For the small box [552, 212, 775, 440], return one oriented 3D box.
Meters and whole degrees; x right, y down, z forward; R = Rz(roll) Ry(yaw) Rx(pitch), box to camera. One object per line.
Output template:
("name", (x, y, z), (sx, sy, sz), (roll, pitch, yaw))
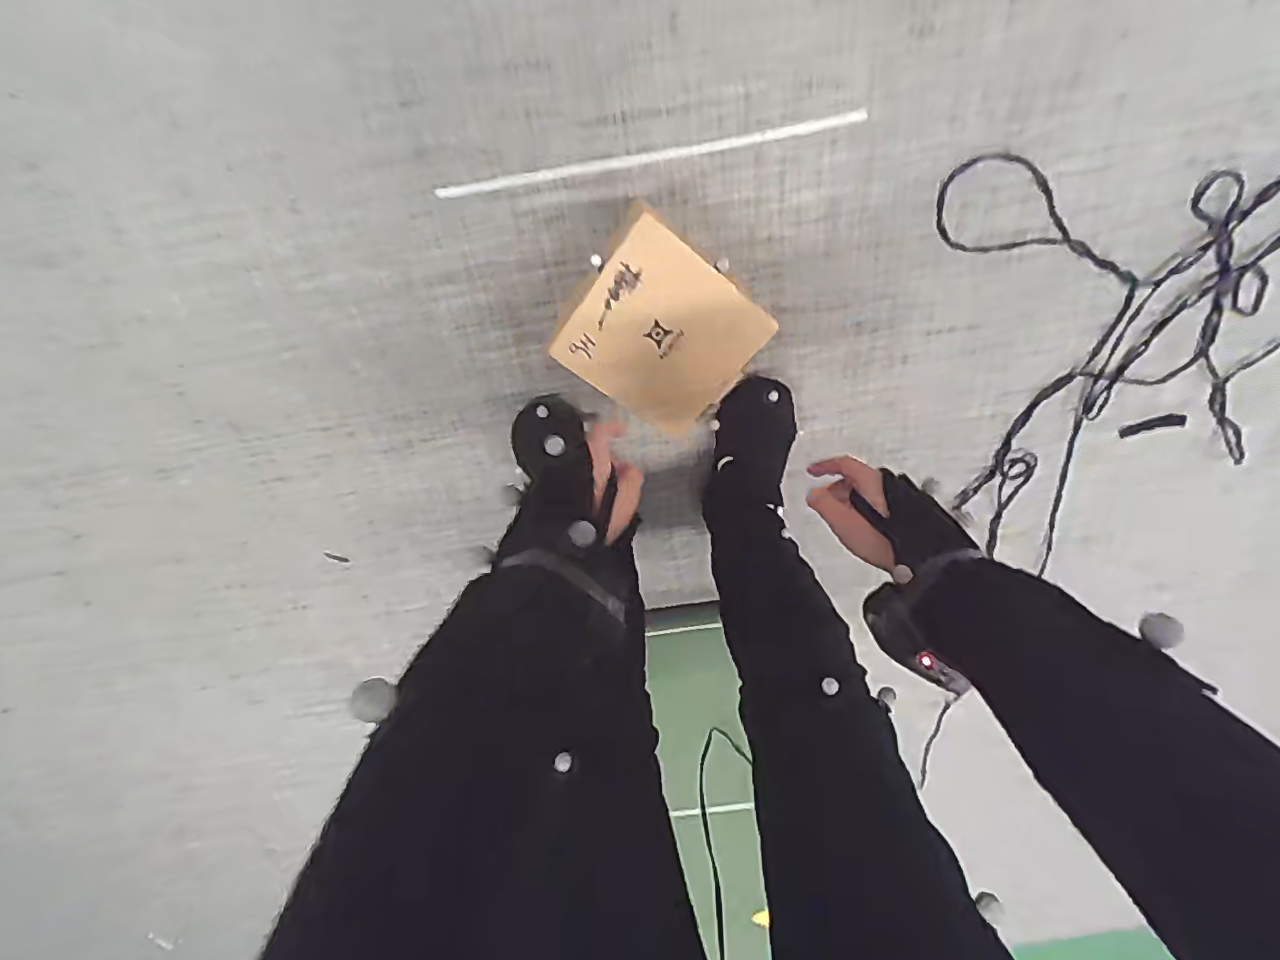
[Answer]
("small box", (0.021, -0.184, 0.624), (0.179, 0.176, 0.168), (32, 114, -20))
